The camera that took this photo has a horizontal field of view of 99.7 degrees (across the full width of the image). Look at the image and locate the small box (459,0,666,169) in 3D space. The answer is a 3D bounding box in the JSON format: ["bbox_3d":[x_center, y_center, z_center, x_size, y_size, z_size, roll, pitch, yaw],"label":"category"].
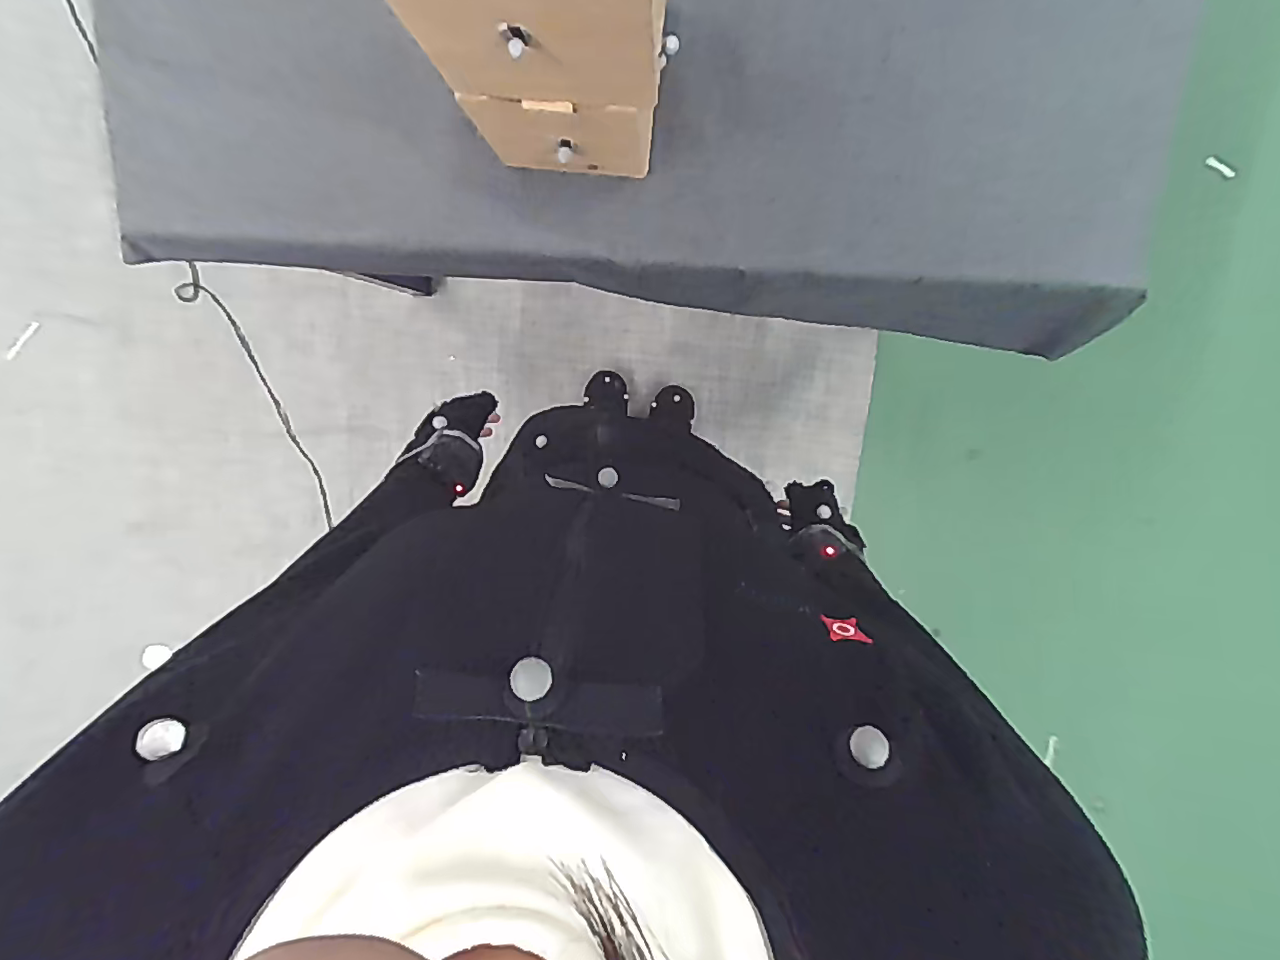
[{"bbox_3d":[-0.064,-0.424,0.525,0.168,0.176,0.179,5,102,3],"label":"small box"}]

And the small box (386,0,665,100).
[{"bbox_3d":[-0.069,-0.387,0.364,0.179,0.176,0.168,5,102,4],"label":"small box"}]
